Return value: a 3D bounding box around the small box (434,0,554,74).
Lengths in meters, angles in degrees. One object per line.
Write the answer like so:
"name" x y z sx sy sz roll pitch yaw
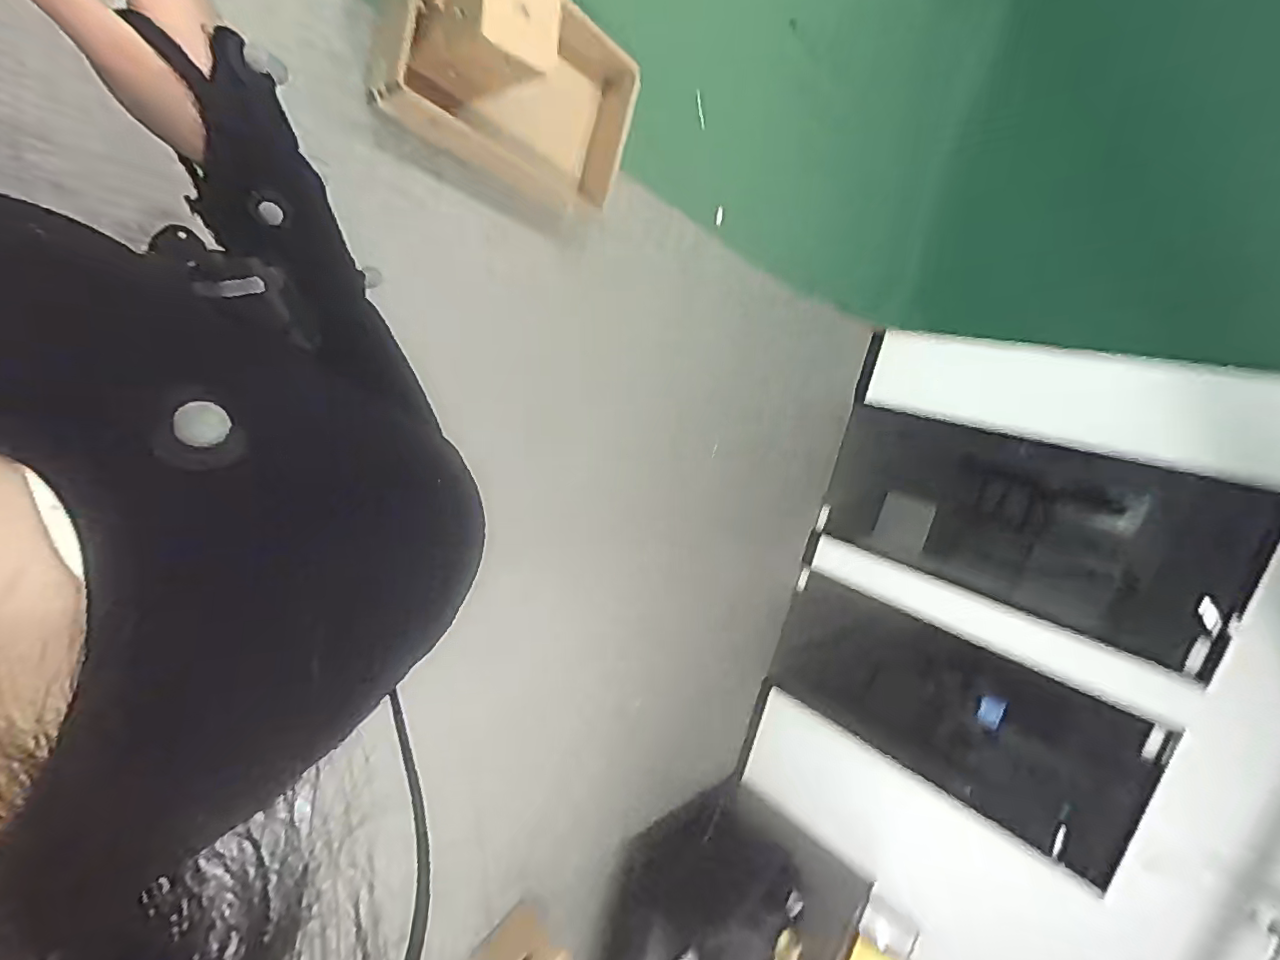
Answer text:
"small box" -0.298 -0.963 1.103 0.179 0.176 0.168 -9 116 -48

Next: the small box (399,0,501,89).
"small box" -0.412 -1.015 1.209 0.179 0.176 0.168 7 104 -49
